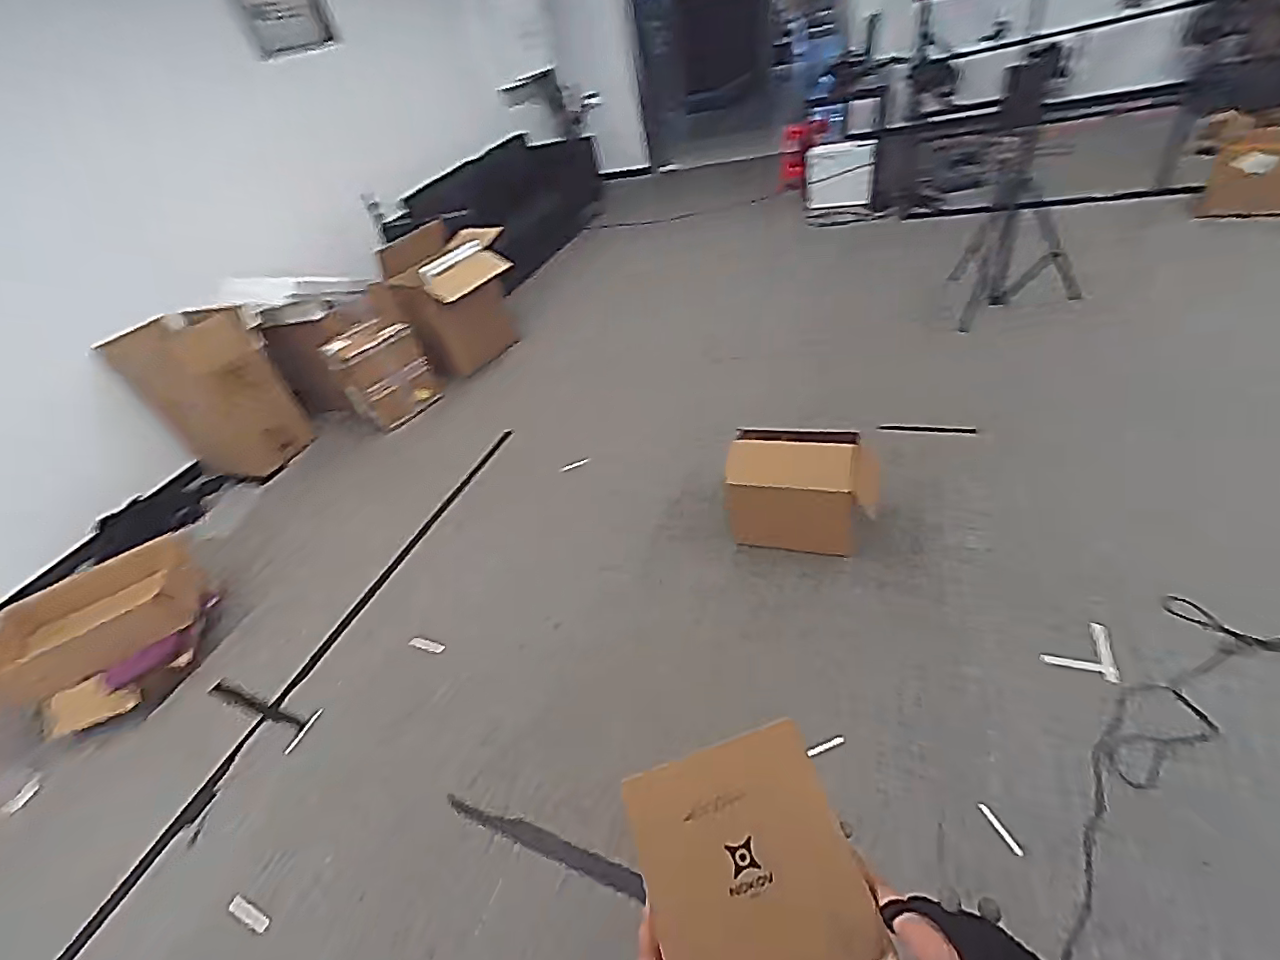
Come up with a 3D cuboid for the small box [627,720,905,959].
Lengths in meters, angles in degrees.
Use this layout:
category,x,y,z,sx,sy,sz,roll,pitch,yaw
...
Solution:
category,x,y,z,sx,sy,sz,roll,pitch,yaw
small box,0.100,0.344,0.486,0.168,0.176,0.179,-18,53,-3
